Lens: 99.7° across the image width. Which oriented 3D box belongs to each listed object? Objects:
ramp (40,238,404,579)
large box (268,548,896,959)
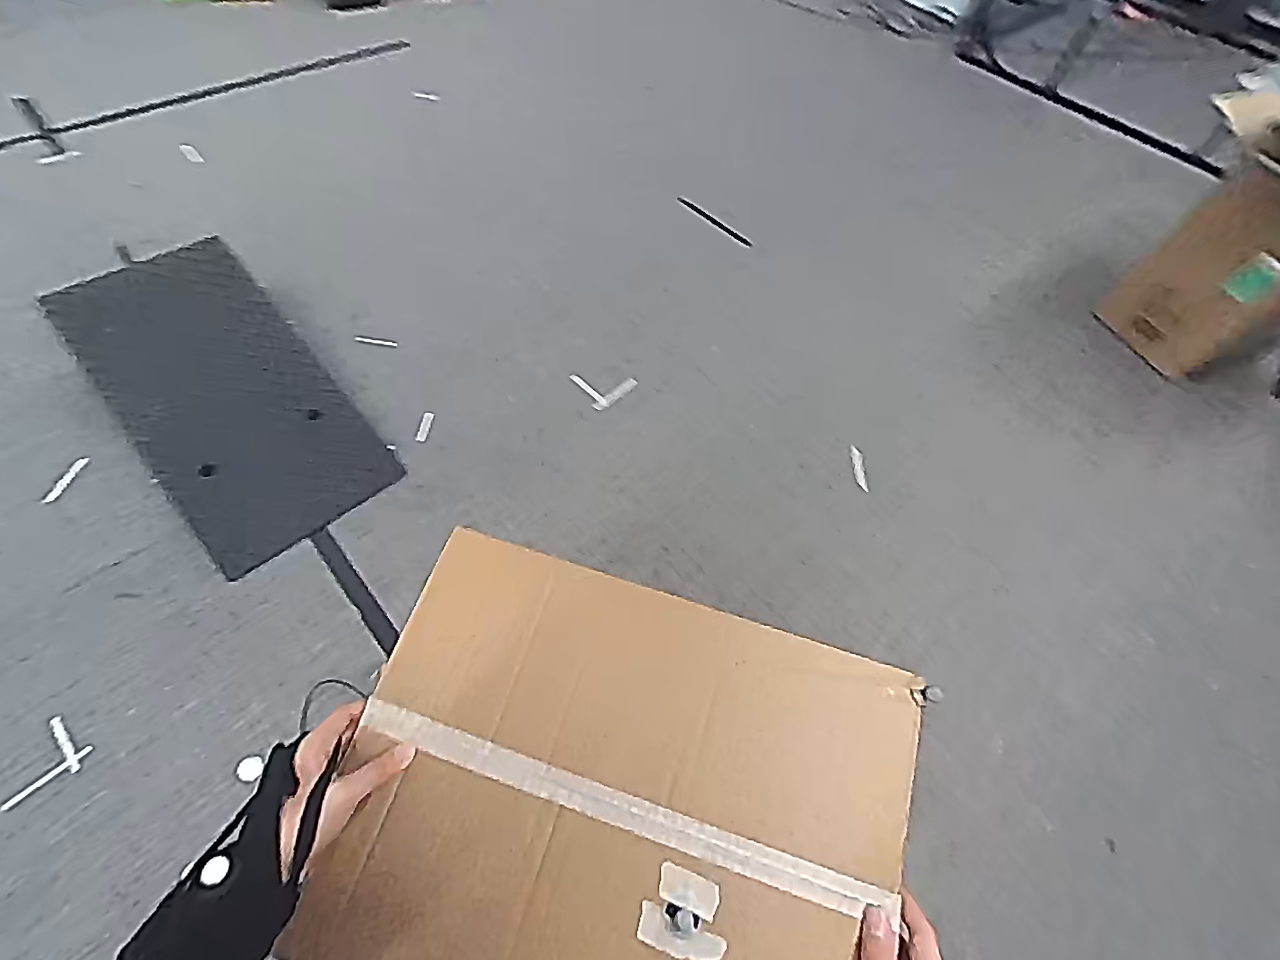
[{"bbox_3d":[-1.153,-0.251,1.509,0.509,0.206,0.991,-38,70,-26],"label":"ramp"},{"bbox_3d":[-0.025,0.299,0.538,0.408,0.320,0.320,15,69,6],"label":"large box"}]
